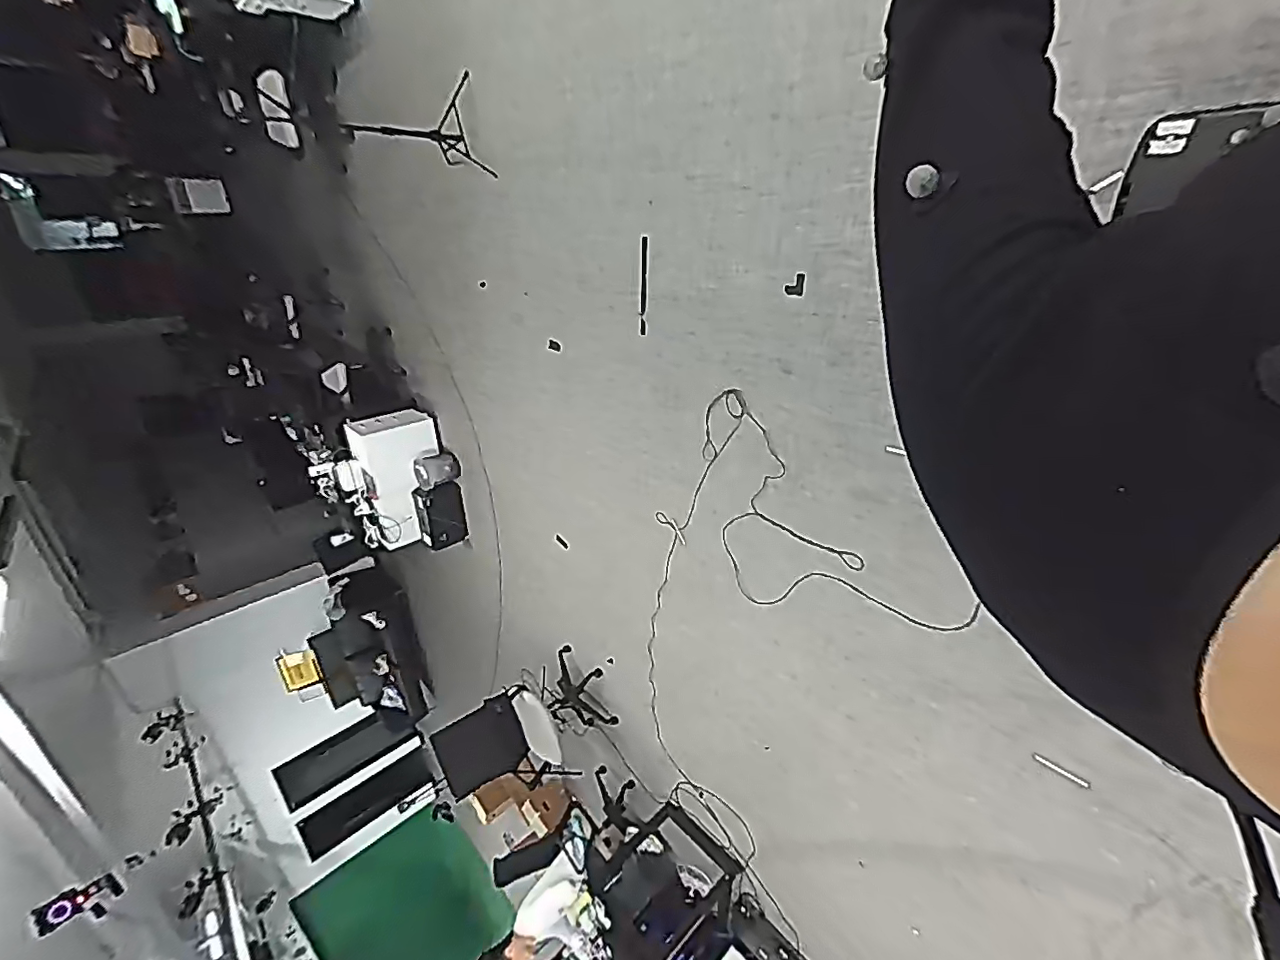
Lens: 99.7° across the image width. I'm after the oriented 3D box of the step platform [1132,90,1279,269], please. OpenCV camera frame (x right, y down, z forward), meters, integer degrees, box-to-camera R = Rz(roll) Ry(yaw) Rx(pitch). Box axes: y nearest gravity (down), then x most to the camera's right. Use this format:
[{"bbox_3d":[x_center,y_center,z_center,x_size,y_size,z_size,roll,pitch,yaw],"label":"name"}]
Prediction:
[{"bbox_3d":[1.256,-0.492,0.867,0.684,0.204,0.286,21,124,41],"label":"step platform"}]
